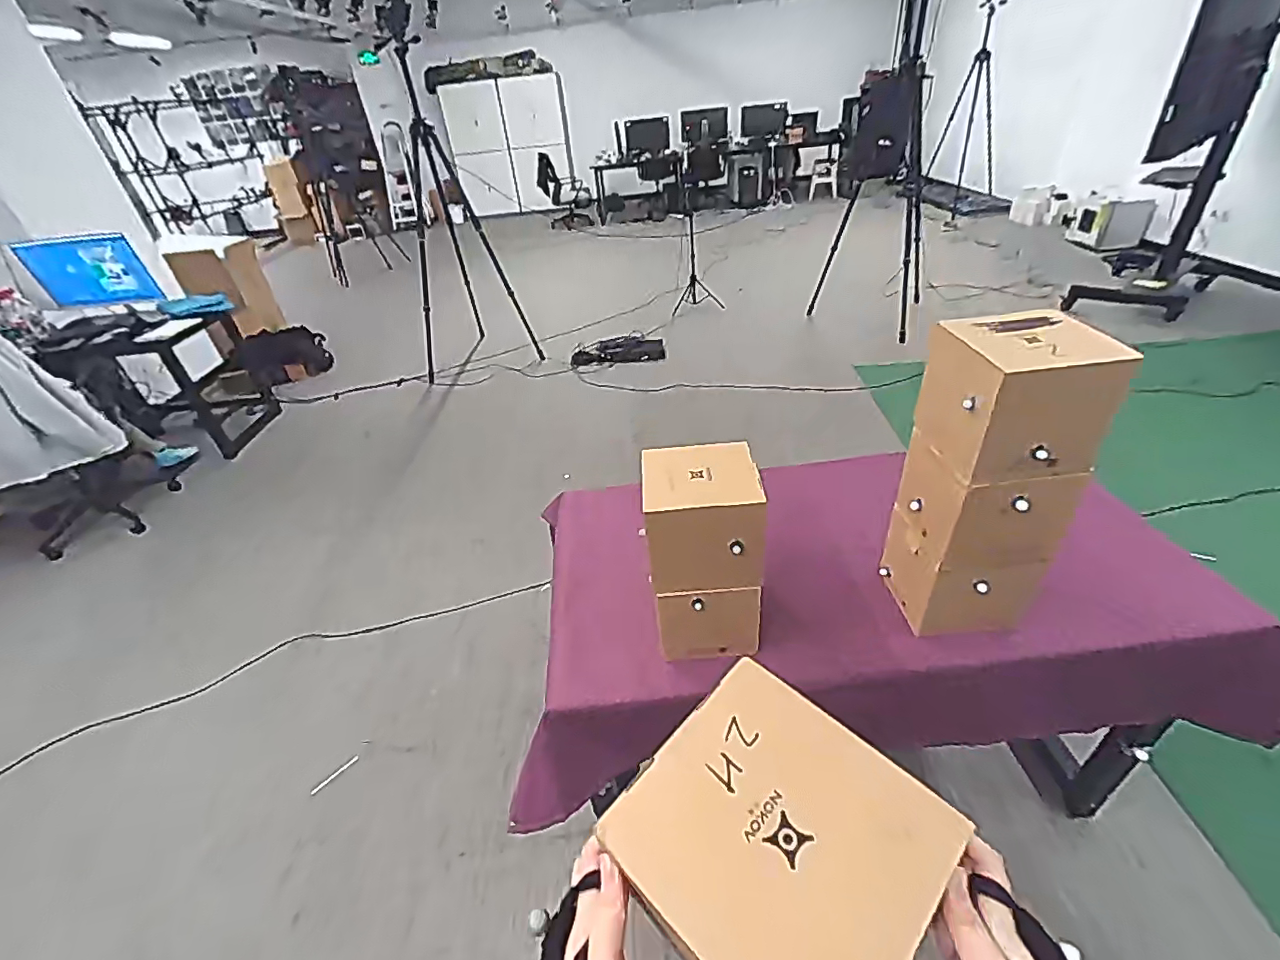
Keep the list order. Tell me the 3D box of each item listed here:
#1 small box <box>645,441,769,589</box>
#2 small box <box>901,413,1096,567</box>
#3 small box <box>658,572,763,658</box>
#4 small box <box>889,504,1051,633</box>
[{"bbox_3d":[0.101,0.056,0.860,0.179,0.176,0.168,-5,36,4],"label":"small box"},{"bbox_3d":[0.538,0.016,0.842,0.179,0.176,0.168,-7,36,2],"label":"small box"},{"bbox_3d":[0.117,0.189,0.956,0.168,0.176,0.179,-6,35,3],"label":"small box"},{"bbox_3d":[0.551,0.147,0.938,0.179,0.176,0.168,-5,36,2],"label":"small box"}]
